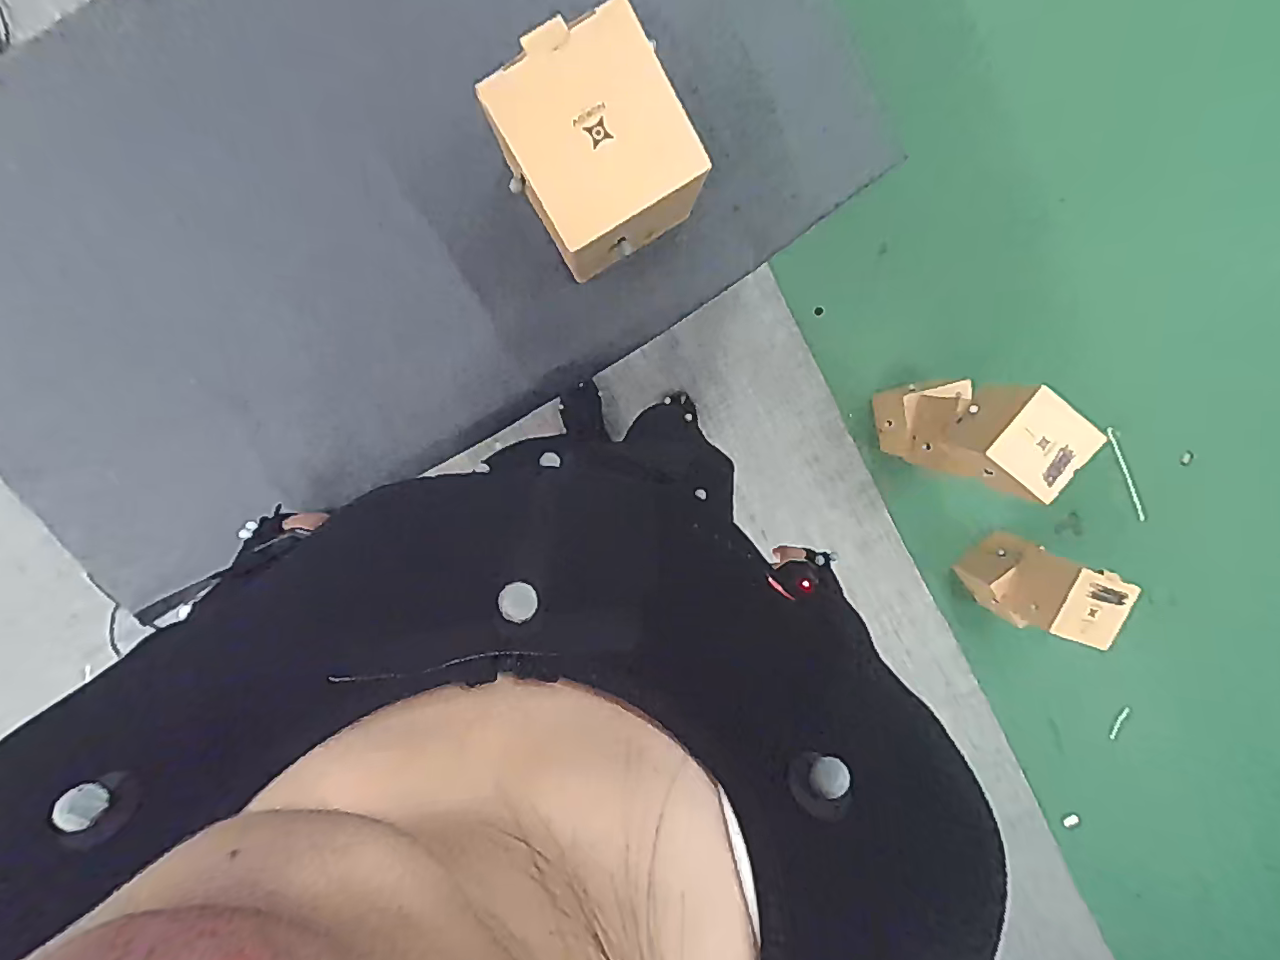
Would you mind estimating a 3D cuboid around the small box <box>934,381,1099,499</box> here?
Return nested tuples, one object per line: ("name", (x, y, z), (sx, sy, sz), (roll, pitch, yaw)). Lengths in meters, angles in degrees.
("small box", (0.756, -0.092, 1.104), (0.179, 0.176, 0.168), (36, 99, -9))

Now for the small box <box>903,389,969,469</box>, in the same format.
("small box", (0.750, -0.119, 1.267), (0.179, 0.176, 0.168), (6, 103, -5))

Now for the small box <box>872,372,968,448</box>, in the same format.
("small box", (0.730, -0.183, 1.418), (0.179, 0.176, 0.168), (-14, 103, -1))

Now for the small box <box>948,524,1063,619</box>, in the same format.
("small box", (1.024, 0.250, 1.529), (0.179, 0.176, 0.168), (-40, 102, 4))

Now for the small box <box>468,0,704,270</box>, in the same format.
("small box", (-0.051, -0.349, 0.587), (0.168, 0.176, 0.179), (-31, 100, 3))
